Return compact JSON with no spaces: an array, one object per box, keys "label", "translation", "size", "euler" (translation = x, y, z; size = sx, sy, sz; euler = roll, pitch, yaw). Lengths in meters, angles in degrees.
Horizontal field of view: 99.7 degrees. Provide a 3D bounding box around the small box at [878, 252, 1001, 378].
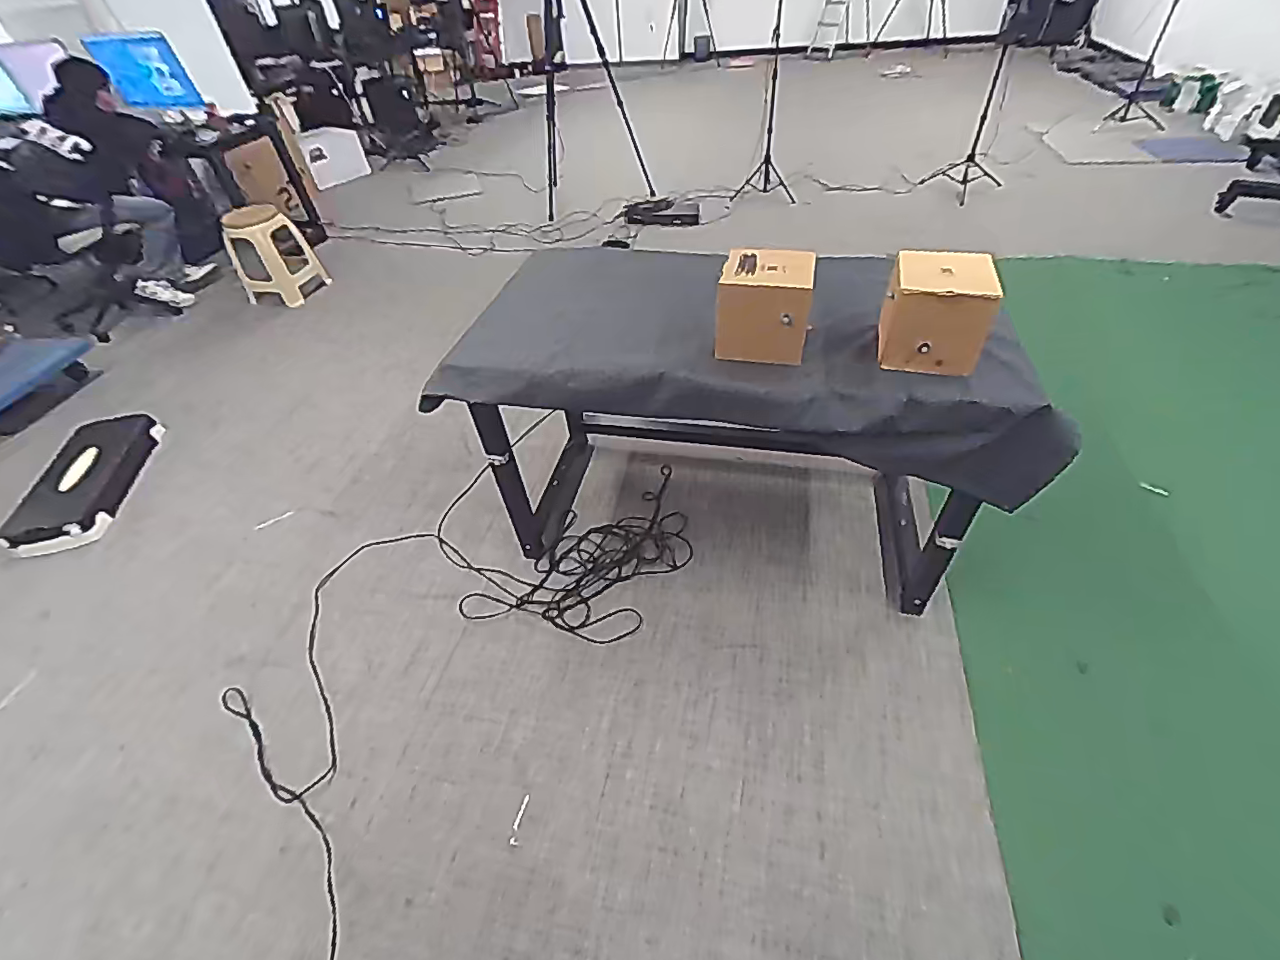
[{"label":"small box","translation":[0.570,-0.324,1.055],"size":[0.168,0.176,0.179],"euler":[9,47,15]}]
